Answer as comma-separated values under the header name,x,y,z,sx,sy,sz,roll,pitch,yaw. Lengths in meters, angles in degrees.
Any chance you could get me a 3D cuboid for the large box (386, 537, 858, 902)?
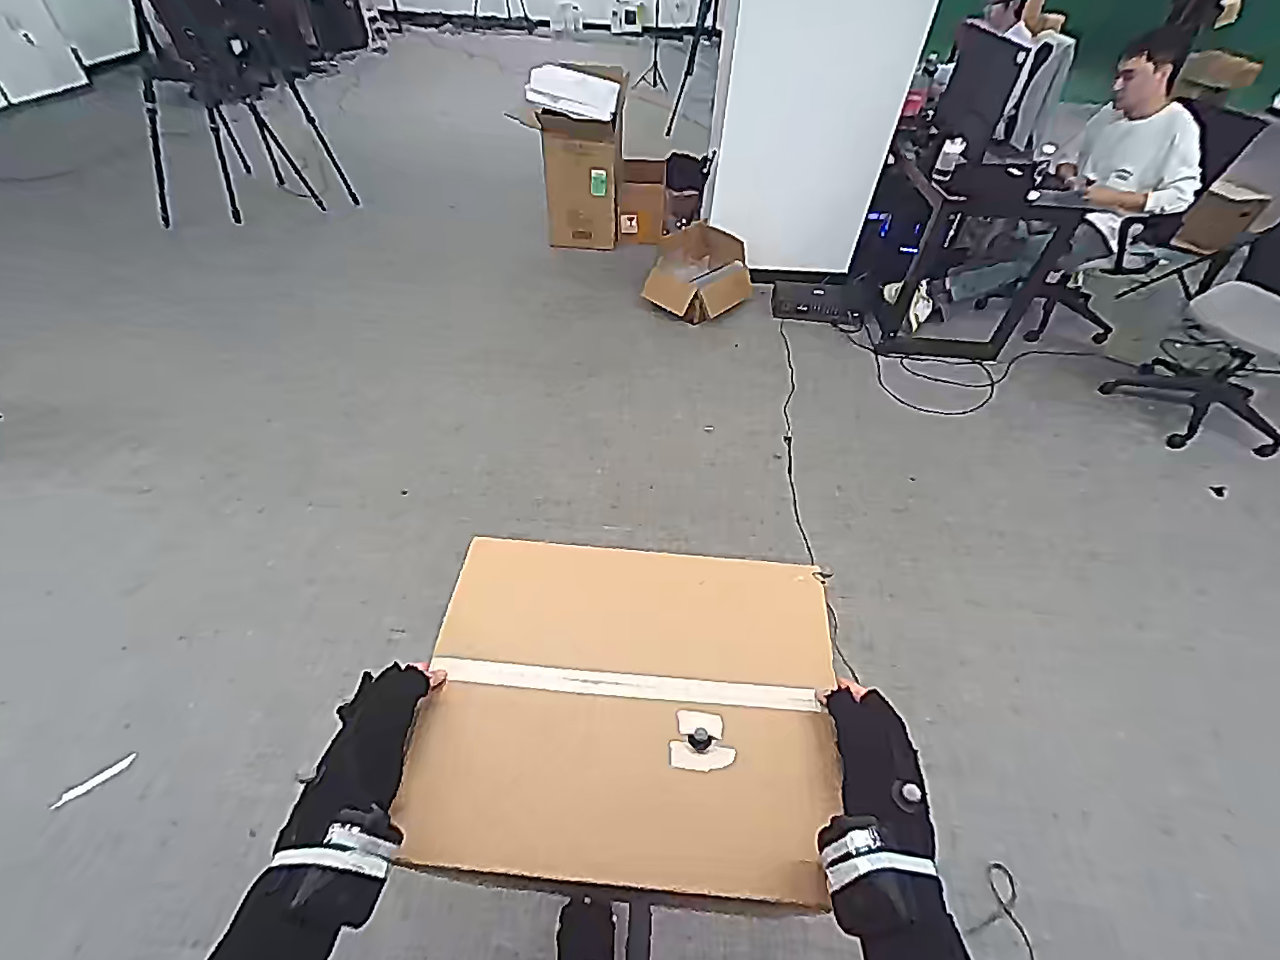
name,x,y,z,sx,sy,sz,roll,pitch,yaw
large box,-0.012,0.294,0.654,0.408,0.320,0.320,5,51,2
